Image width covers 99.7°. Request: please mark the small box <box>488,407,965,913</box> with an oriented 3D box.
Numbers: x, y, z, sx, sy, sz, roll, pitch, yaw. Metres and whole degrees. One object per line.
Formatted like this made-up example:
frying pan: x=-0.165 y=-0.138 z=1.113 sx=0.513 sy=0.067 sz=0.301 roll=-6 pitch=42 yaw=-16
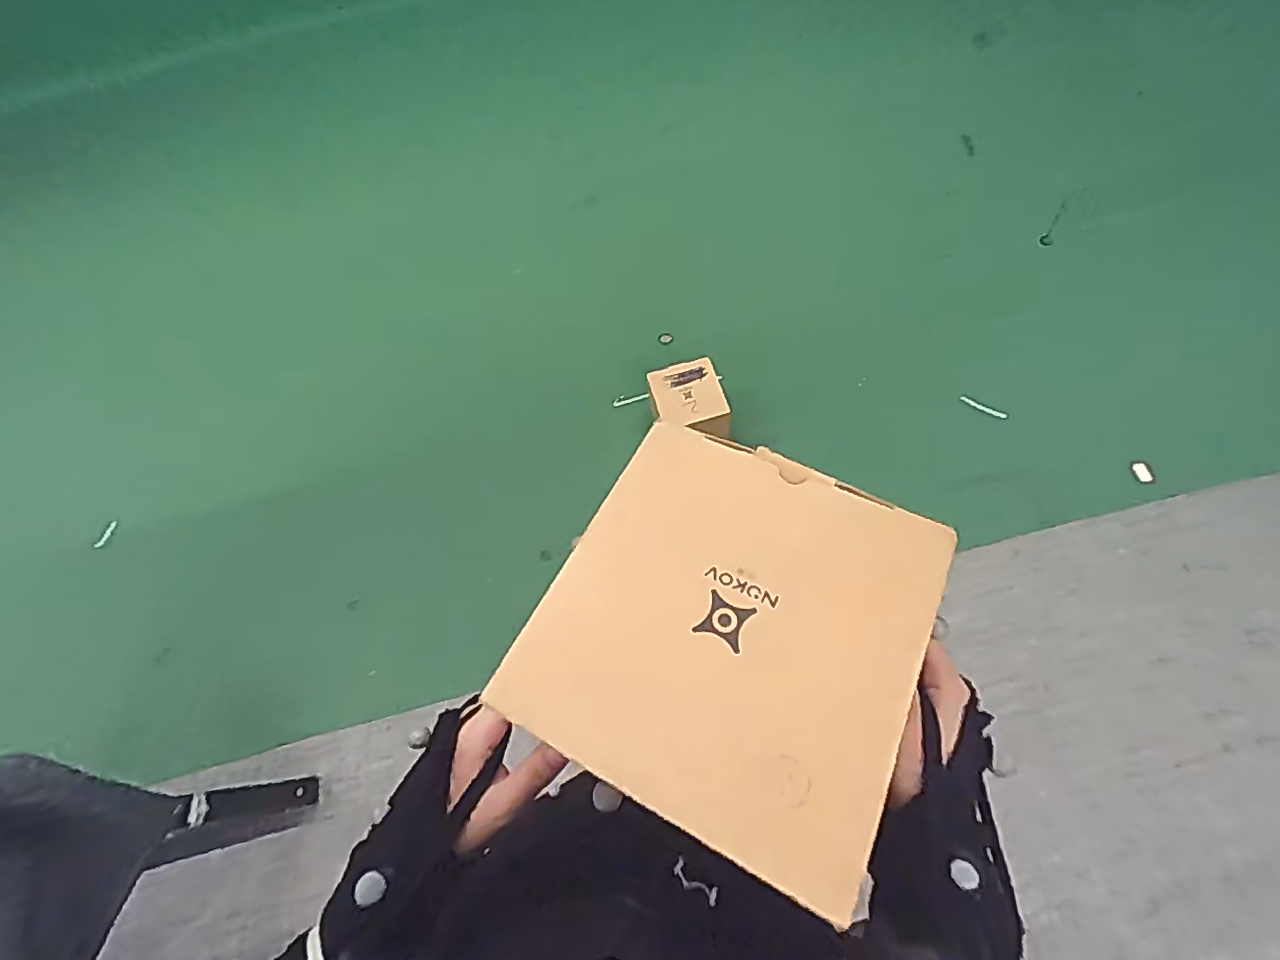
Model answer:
small box: x=0.050 y=0.095 z=0.313 sx=0.168 sy=0.176 sz=0.179 roll=23 pitch=63 yaw=18
